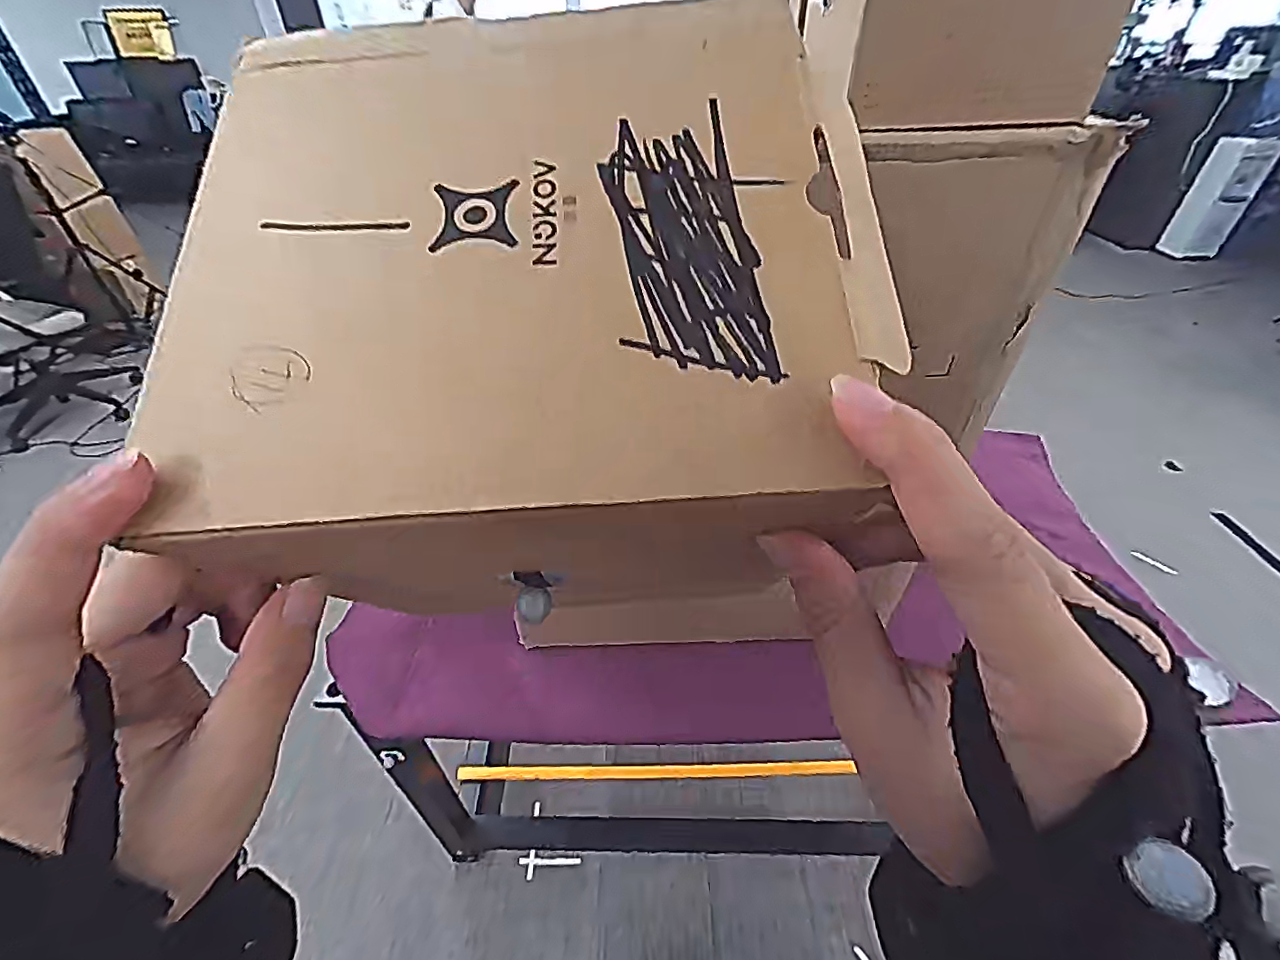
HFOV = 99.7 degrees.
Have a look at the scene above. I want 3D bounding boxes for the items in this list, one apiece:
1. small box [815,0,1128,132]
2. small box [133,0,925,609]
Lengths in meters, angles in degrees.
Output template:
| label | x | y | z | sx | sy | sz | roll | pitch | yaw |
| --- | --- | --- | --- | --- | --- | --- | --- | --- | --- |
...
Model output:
| label | x | y | z | sx | sy | sz | roll | pitch | yaw |
| --- | --- | --- | --- | --- | --- | --- | --- | --- | --- |
| small box | 0.231 | -0.365 | 0.396 | 0.179 | 0.176 | 0.168 | -1 | 41 | 1 |
| small box | -0.026 | -0.043 | 0.218 | 0.179 | 0.176 | 0.168 | -4 | 70 | 1 |
